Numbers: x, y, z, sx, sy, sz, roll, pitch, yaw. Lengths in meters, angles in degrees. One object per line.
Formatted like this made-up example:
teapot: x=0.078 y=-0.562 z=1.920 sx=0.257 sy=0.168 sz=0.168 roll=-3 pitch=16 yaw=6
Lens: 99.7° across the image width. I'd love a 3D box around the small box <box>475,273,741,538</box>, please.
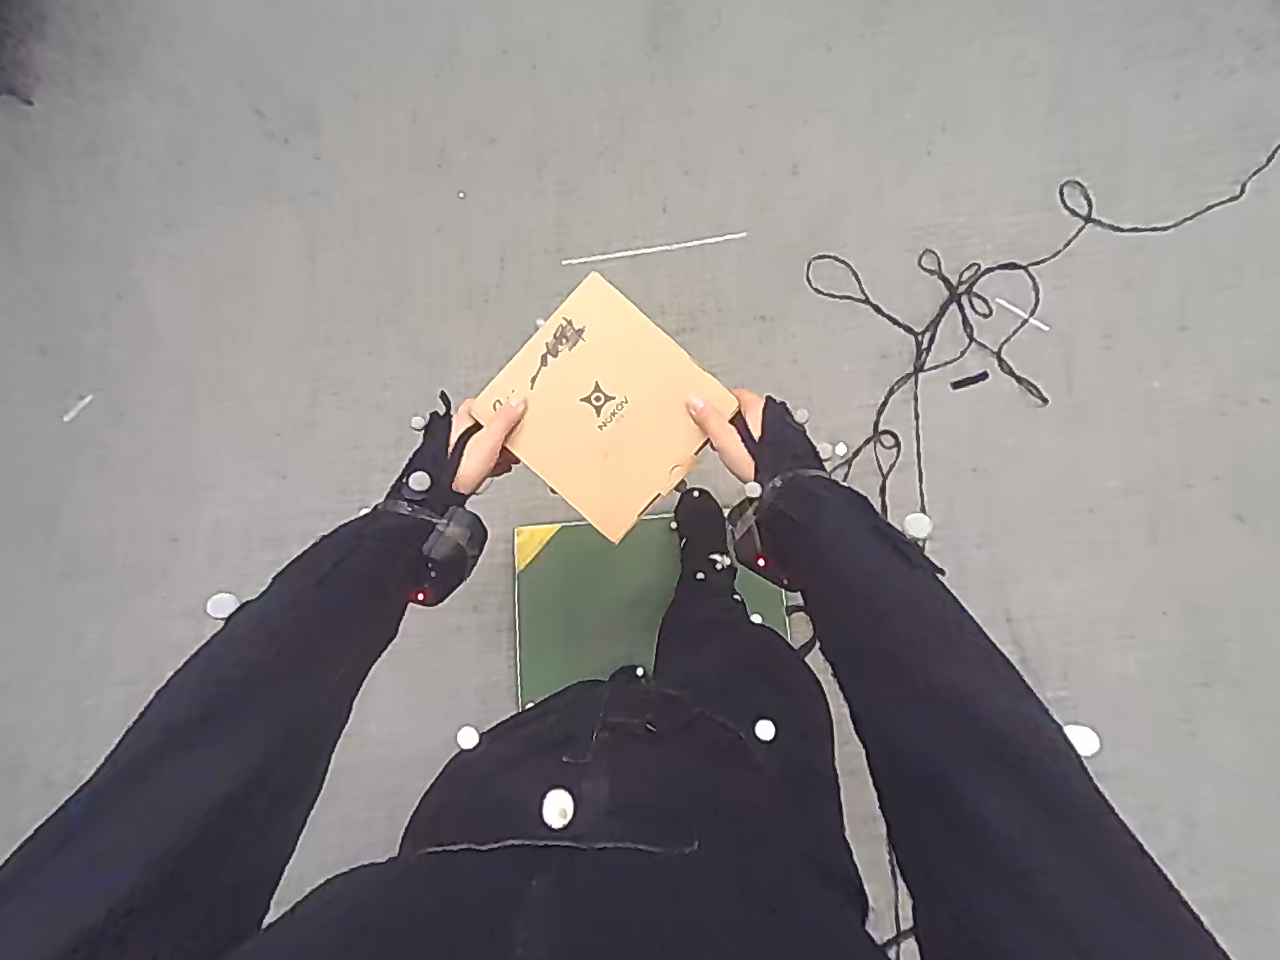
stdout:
small box: x=-0.027 y=-0.066 z=0.549 sx=0.179 sy=0.176 sz=0.168 roll=42 pitch=89 yaw=0
